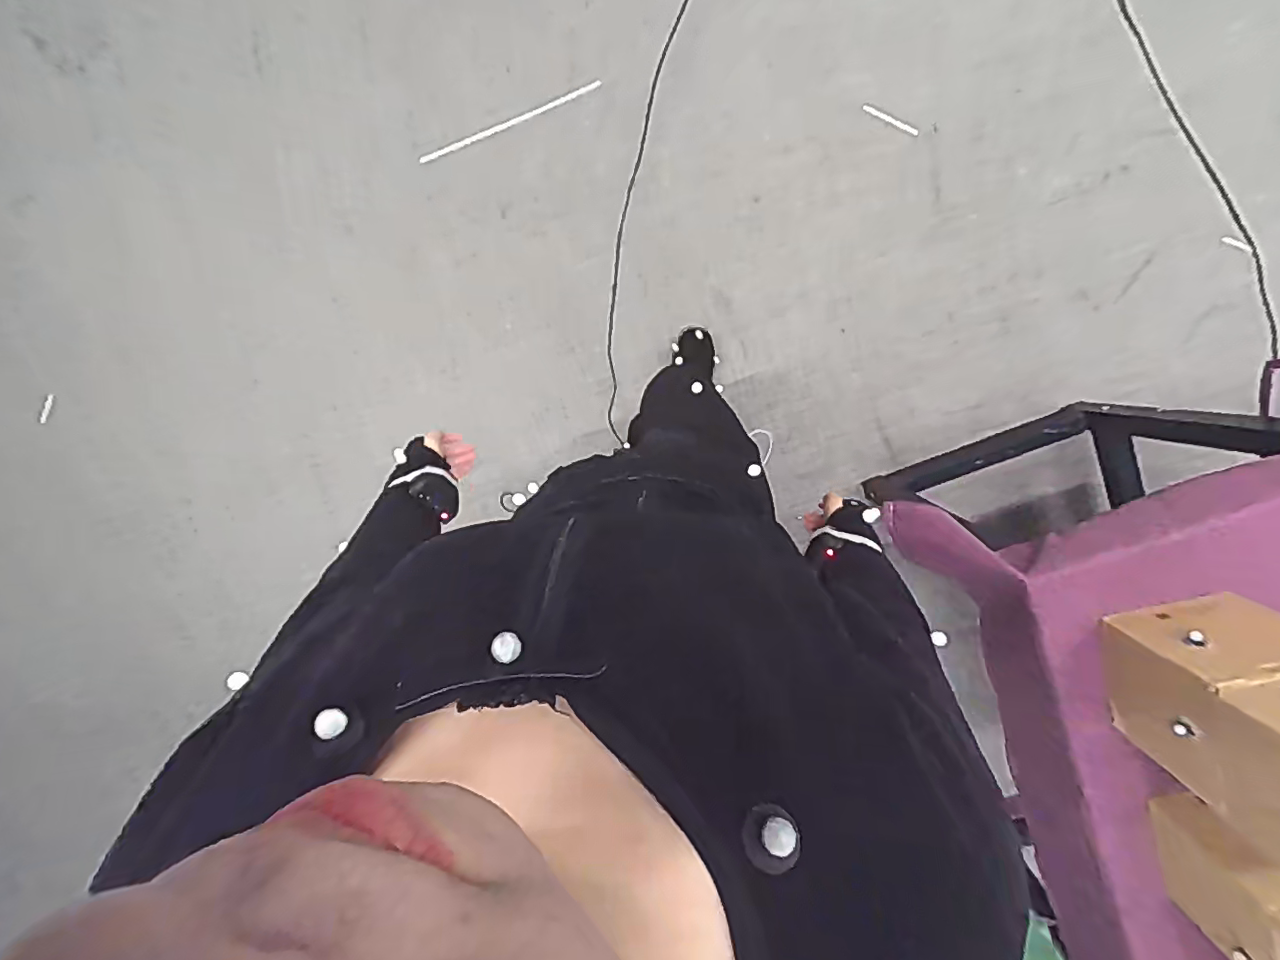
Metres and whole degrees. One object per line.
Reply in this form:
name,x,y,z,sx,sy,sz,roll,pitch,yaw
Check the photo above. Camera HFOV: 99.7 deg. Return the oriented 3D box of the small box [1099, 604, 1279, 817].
small box,0.720,0.270,0.673,0.168,0.176,0.179,-13,101,7
